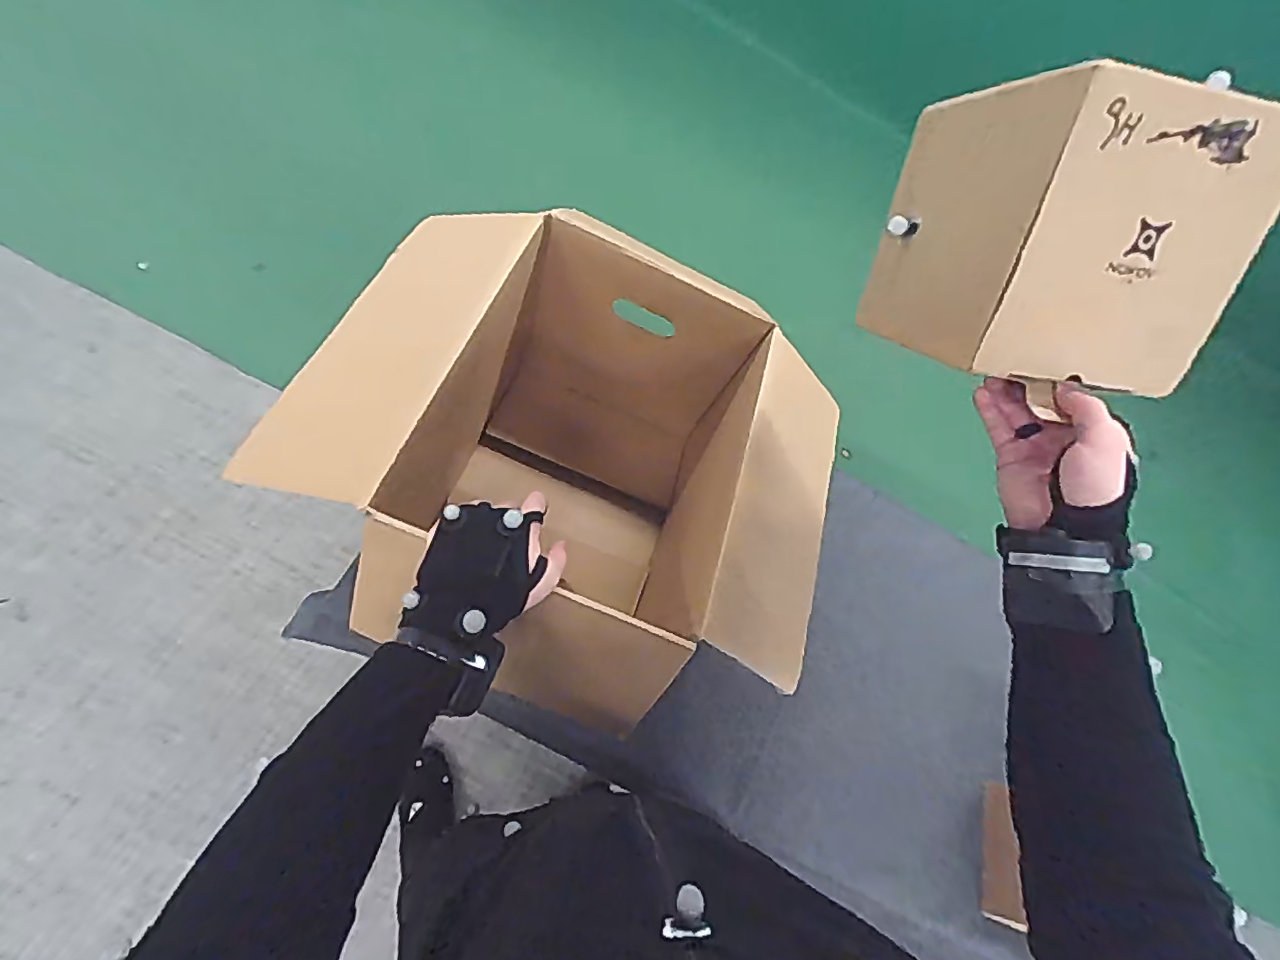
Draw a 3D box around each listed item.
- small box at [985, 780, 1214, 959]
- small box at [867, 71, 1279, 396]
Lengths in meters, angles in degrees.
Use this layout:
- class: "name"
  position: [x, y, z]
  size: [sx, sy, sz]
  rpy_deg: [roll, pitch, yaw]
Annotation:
- class: "small box"
  position: [0.597, 0.527, 0.725]
  size: [0.168, 0.176, 0.179]
  rpy_deg: [26, 60, -5]
- class: "small box"
  position: [0.306, -0.182, 0.421]
  size: [0.168, 0.179, 0.176]
  rpy_deg: [4, 27, -9]
